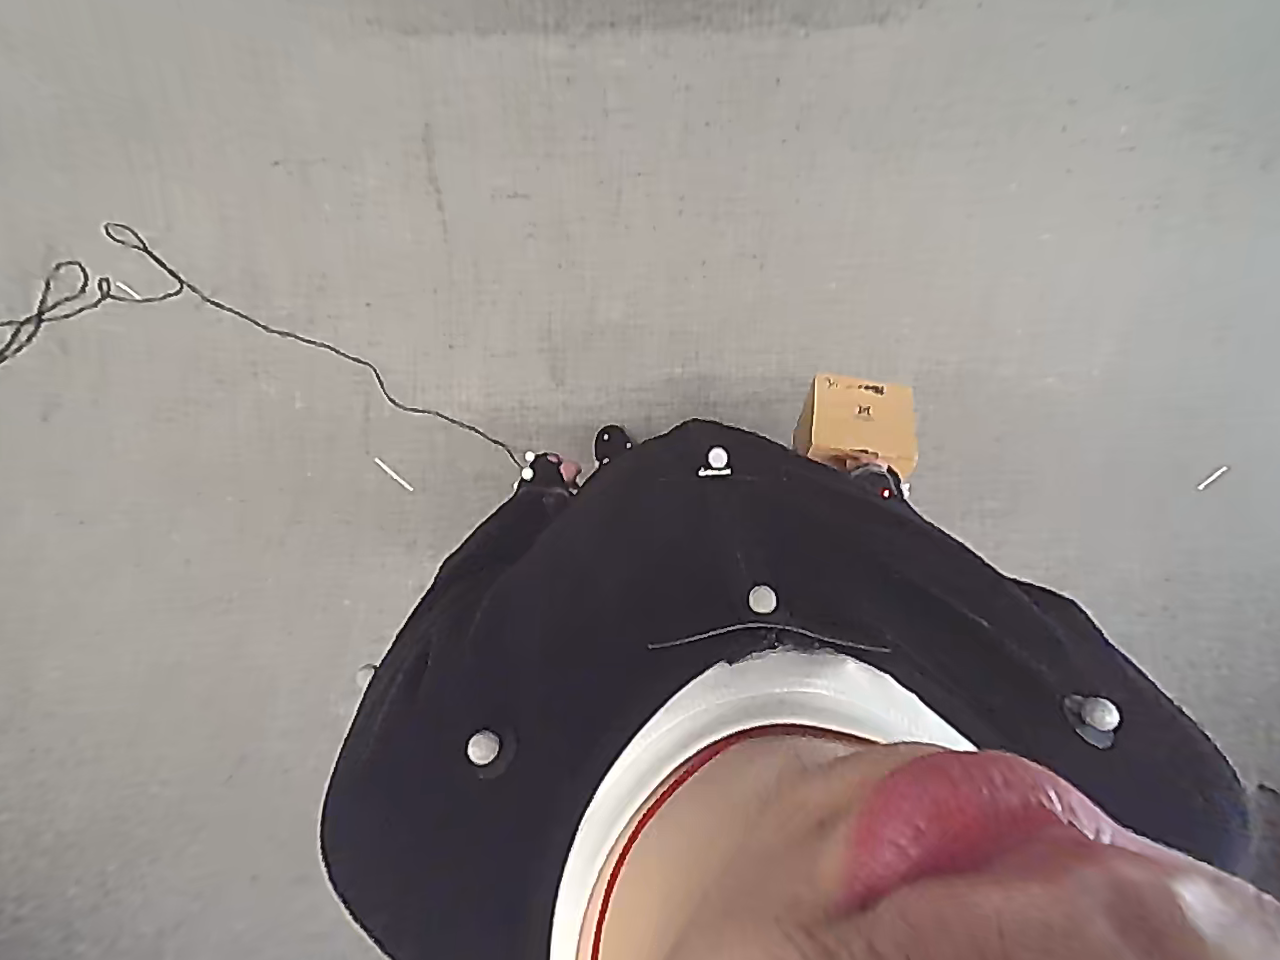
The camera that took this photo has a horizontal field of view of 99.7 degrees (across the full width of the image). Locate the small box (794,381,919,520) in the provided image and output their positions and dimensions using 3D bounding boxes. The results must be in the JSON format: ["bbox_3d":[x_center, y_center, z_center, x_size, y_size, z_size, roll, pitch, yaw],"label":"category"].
[{"bbox_3d":[0.376,-0.049,0.965,0.168,0.176,0.179,8,53,8],"label":"small box"}]
